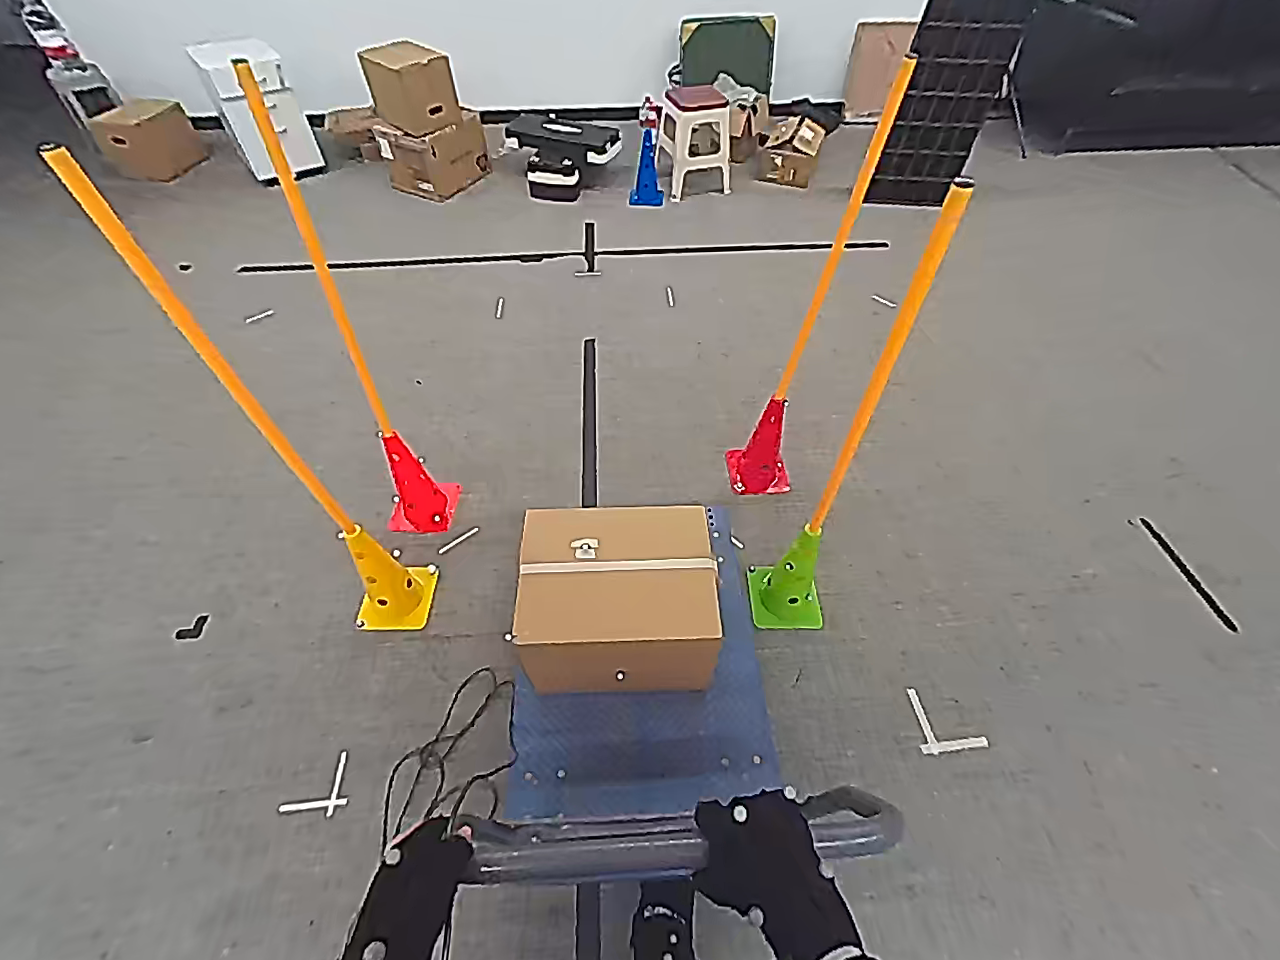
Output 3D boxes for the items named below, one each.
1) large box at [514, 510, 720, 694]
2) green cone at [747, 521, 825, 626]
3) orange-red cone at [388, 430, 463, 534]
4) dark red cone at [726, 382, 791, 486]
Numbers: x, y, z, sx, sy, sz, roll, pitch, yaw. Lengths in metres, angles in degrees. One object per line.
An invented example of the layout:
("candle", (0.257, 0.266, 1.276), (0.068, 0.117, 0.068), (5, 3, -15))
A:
("large box", (-0.046, 0.286, 1.242), (0.408, 0.320, 0.320), (-2, 51, -1))
("green cone", (0.429, 0.232, 1.470), (0.202, 0.368, 0.200), (1, 51, -1))
("orange-red cone", (-0.705, -0.019, 1.674), (0.198, 0.360, 0.199), (4, 50, 2))
("dark red cone", (0.418, -0.156, 1.762), (0.201, 0.394, 0.202), (-2, 51, -4))
